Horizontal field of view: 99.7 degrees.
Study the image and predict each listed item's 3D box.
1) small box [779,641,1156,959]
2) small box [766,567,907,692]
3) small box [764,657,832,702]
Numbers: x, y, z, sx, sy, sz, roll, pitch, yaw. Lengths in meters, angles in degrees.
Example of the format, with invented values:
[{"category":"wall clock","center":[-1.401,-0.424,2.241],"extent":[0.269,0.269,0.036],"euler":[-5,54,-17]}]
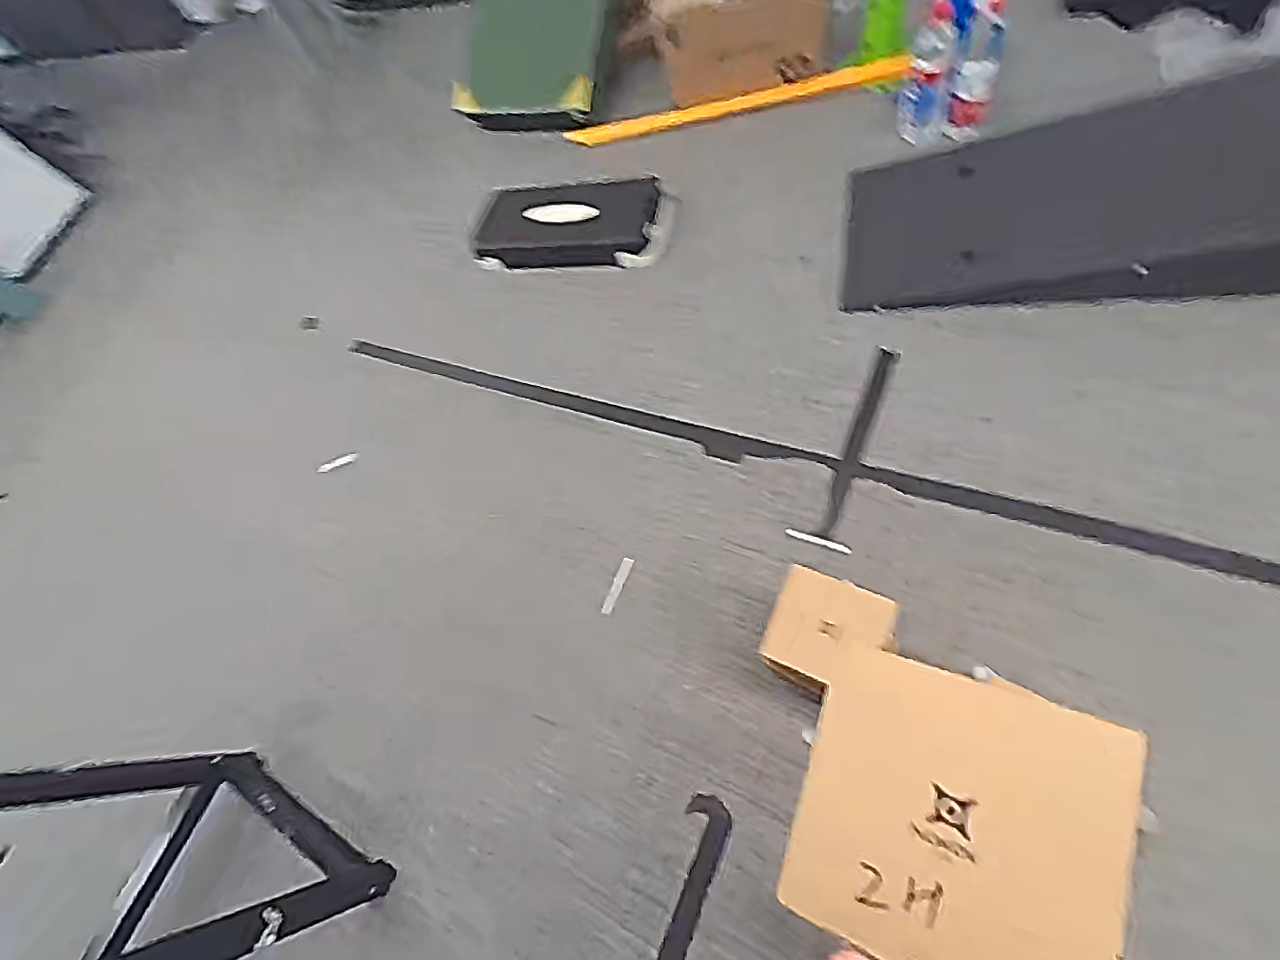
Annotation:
[{"category":"small box","center":[0.216,0.231,0.377],"extent":[0.168,0.176,0.179],"euler":[11,76,33]},{"category":"small box","center":[0.336,0.273,0.937],"extent":[0.179,0.176,0.168],"euler":[20,75,25]},{"category":"small box","center":[0.368,0.342,1.083],"extent":[0.179,0.176,0.168],"euler":[25,77,24]}]
